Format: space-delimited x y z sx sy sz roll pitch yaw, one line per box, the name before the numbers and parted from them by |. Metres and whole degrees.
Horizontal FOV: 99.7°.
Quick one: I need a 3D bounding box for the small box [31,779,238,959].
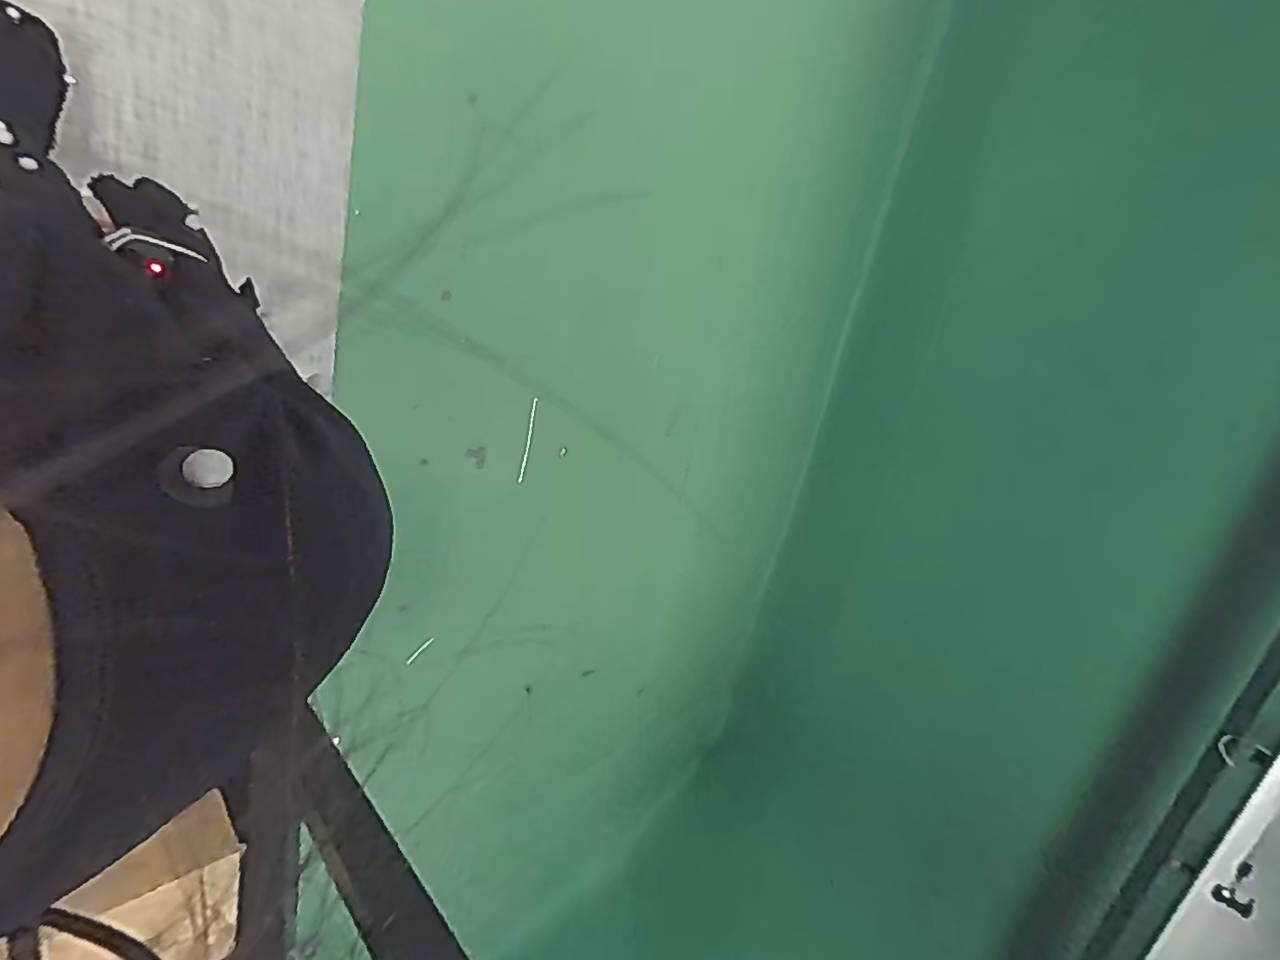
small box | -0.619 0.505 0.662 0.168 0.176 0.179 -2 112 -49
